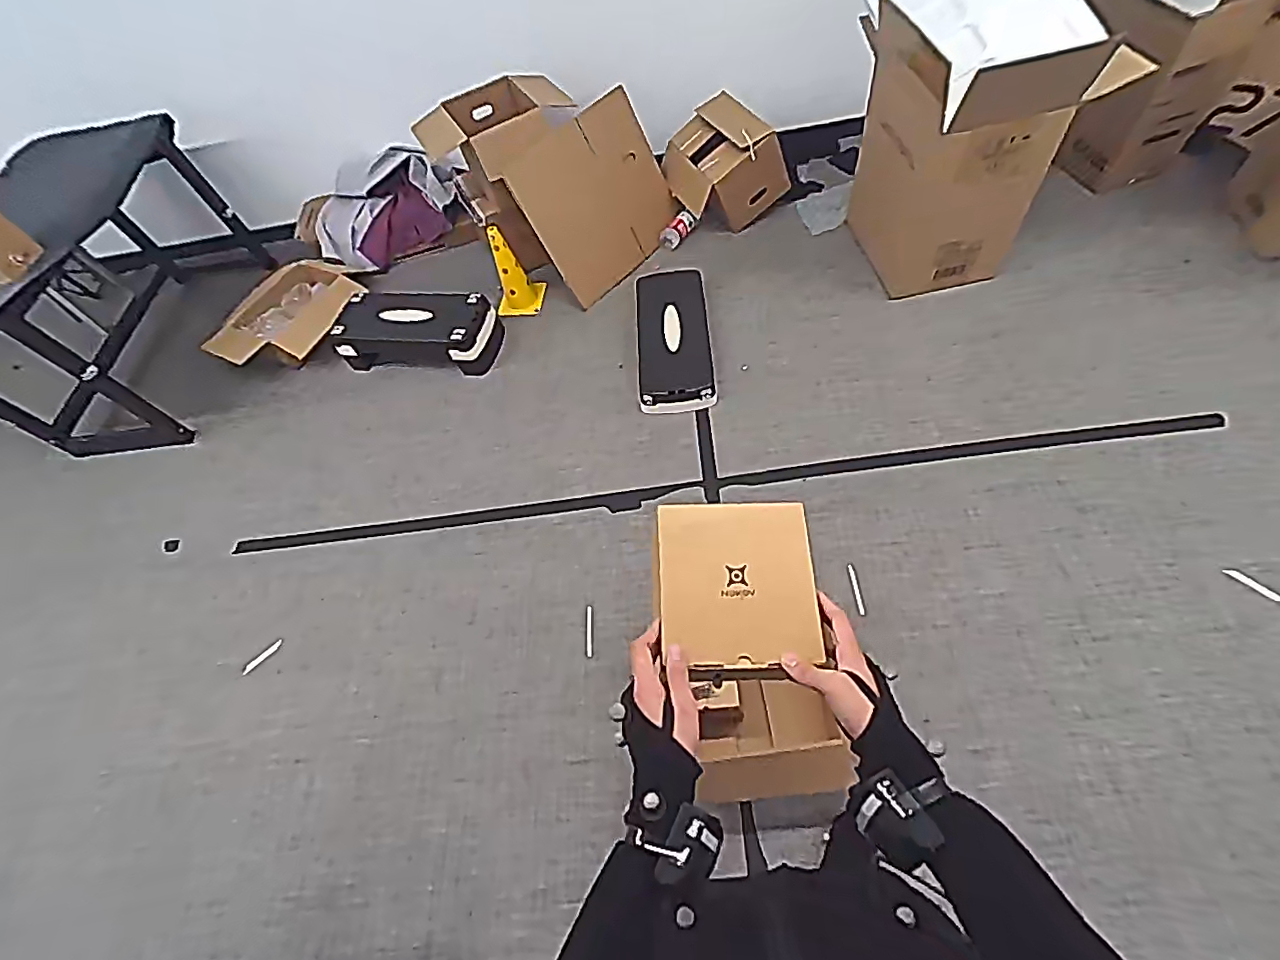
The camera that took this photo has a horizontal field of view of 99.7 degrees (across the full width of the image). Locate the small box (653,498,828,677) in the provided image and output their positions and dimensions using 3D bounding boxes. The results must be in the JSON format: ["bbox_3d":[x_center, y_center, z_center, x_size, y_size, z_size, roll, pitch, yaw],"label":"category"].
[{"bbox_3d":[0.101,0.132,0.635,0.168,0.176,0.179,-1,66,-1],"label":"small box"}]
